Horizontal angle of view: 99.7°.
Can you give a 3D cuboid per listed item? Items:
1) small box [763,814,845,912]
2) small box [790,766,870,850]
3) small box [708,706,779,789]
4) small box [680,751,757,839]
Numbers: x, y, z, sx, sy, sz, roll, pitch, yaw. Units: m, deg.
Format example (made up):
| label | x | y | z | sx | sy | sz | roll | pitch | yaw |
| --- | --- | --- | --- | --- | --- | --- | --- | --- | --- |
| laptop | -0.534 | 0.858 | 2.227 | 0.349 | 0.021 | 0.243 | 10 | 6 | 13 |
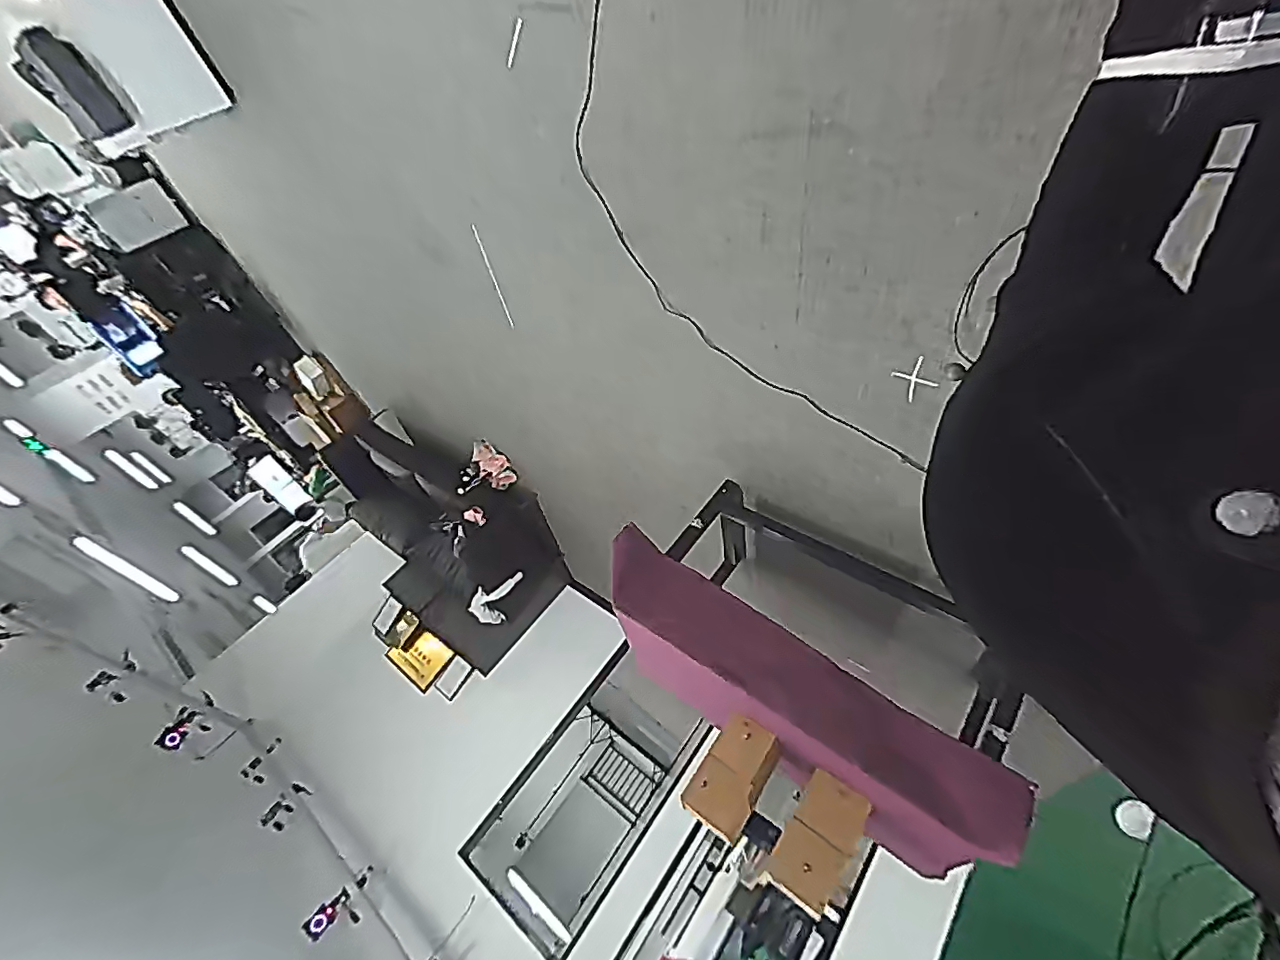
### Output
| label | x | y | z | sx | sy | sz | roll | pitch | yaw |
| --- | --- | --- | --- | --- | --- | --- | --- | --- | --- |
| small box | 0.483 | 1.124 | 1.602 | 0.179 | 0.176 | 0.168 | 25 | 148 | 32 |
| small box | 0.585 | 1.017 | 1.673 | 0.179 | 0.176 | 0.168 | 26 | 149 | 33 |
| small box | 0.357 | 0.908 | 1.833 | 0.168 | 0.176 | 0.179 | 21 | 146 | 37 |
| small box | 0.258 | 1.014 | 1.758 | 0.179 | 0.176 | 0.168 | 22 | 148 | 35 |
